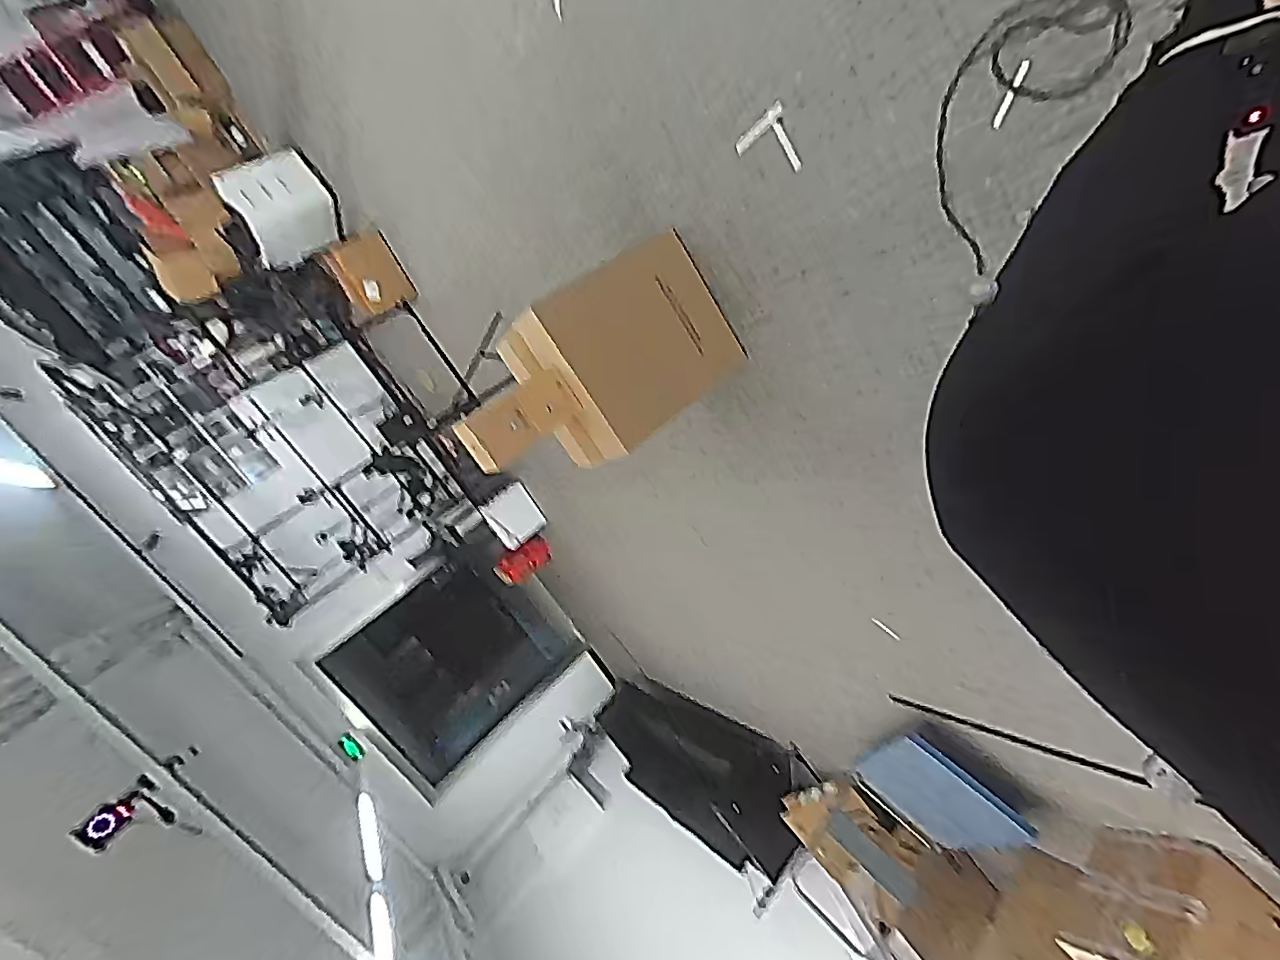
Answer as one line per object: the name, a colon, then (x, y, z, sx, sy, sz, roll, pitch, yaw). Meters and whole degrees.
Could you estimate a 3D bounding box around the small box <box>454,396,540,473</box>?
small box: (-0.429, -0.135, 1.631, 0.168, 0.176, 0.179, 57, 154, -17)

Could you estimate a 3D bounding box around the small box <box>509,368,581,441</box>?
small box: (-0.311, -0.232, 1.695, 0.168, 0.176, 0.179, 56, 154, -15)
